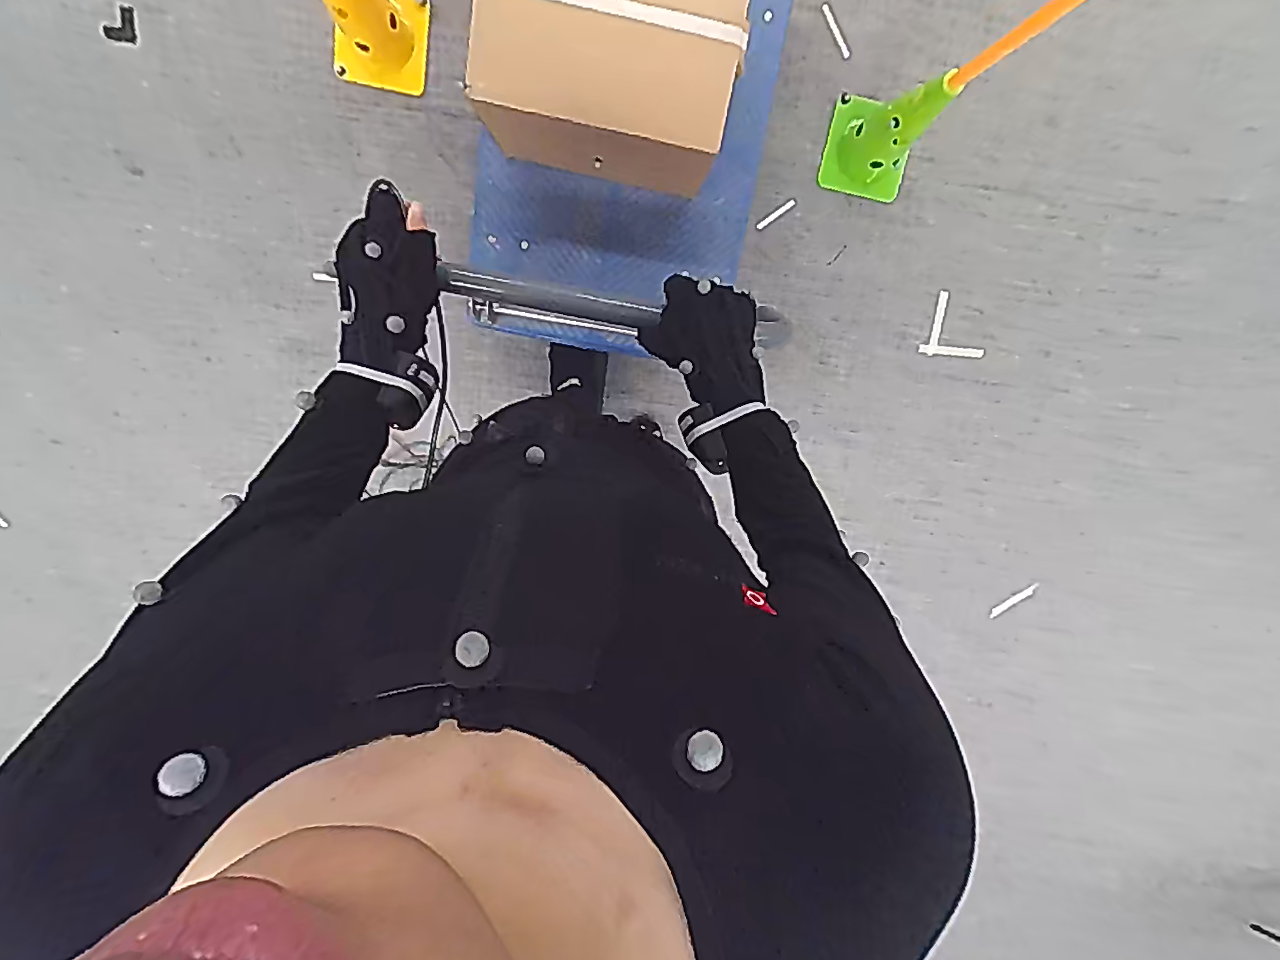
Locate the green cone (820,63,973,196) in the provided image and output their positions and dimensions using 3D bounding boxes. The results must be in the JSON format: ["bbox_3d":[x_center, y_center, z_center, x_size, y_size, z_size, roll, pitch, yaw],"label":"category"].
[{"bbox_3d":[0.548,-0.751,1.114,0.202,0.368,0.200,10,105,-6],"label":"green cone"}]

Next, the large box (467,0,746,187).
[{"bbox_3d":[-0.046,-0.747,0.948,0.408,0.320,0.320,11,105,-4],"label":"large box"}]
